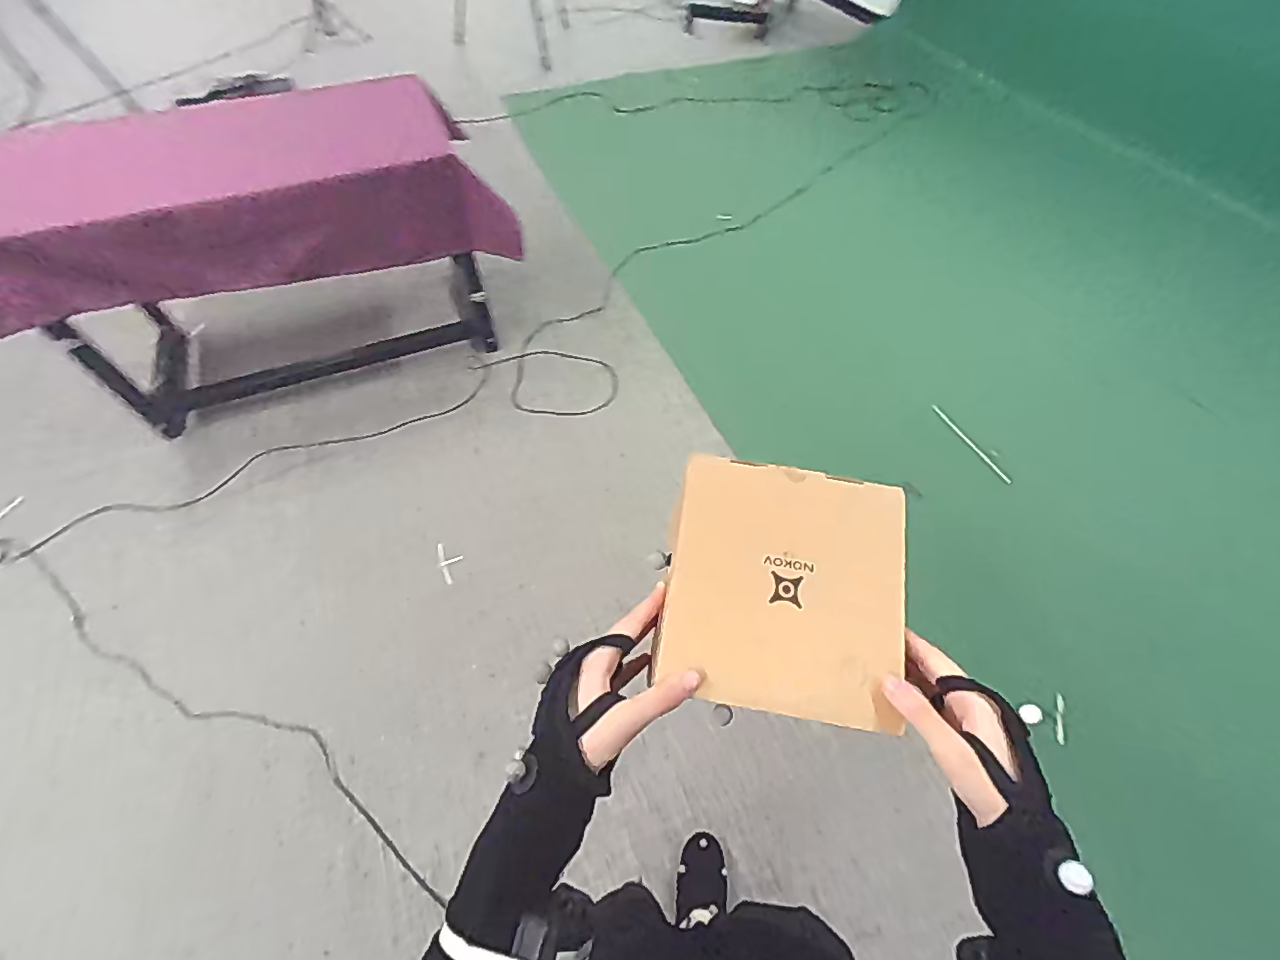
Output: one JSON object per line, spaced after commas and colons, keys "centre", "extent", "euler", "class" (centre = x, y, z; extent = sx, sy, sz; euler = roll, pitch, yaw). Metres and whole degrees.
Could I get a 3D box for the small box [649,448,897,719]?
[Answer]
{"centre": [0.100, 0.094, 0.461], "extent": [0.168, 0.176, 0.179], "euler": [8, 69, 2], "class": "small box"}
